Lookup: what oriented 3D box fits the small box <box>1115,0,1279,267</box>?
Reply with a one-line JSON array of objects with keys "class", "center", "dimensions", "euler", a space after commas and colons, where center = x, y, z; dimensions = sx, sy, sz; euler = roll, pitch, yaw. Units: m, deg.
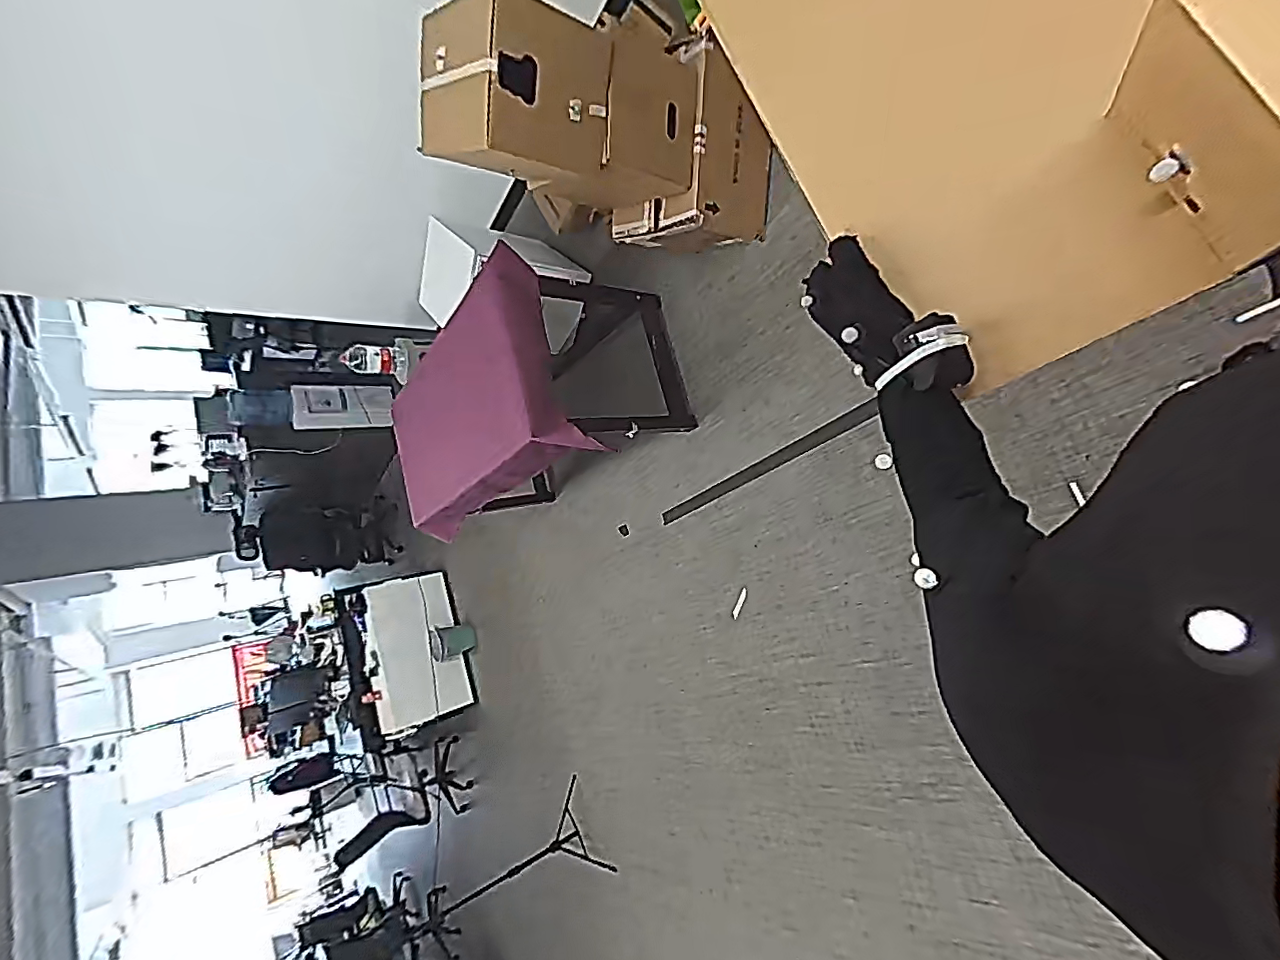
[{"class": "small box", "center": [0.436, -0.259, 0.319], "dimensions": [0.179, 0.176, 0.168], "euler": [-32, 78, 33]}]
